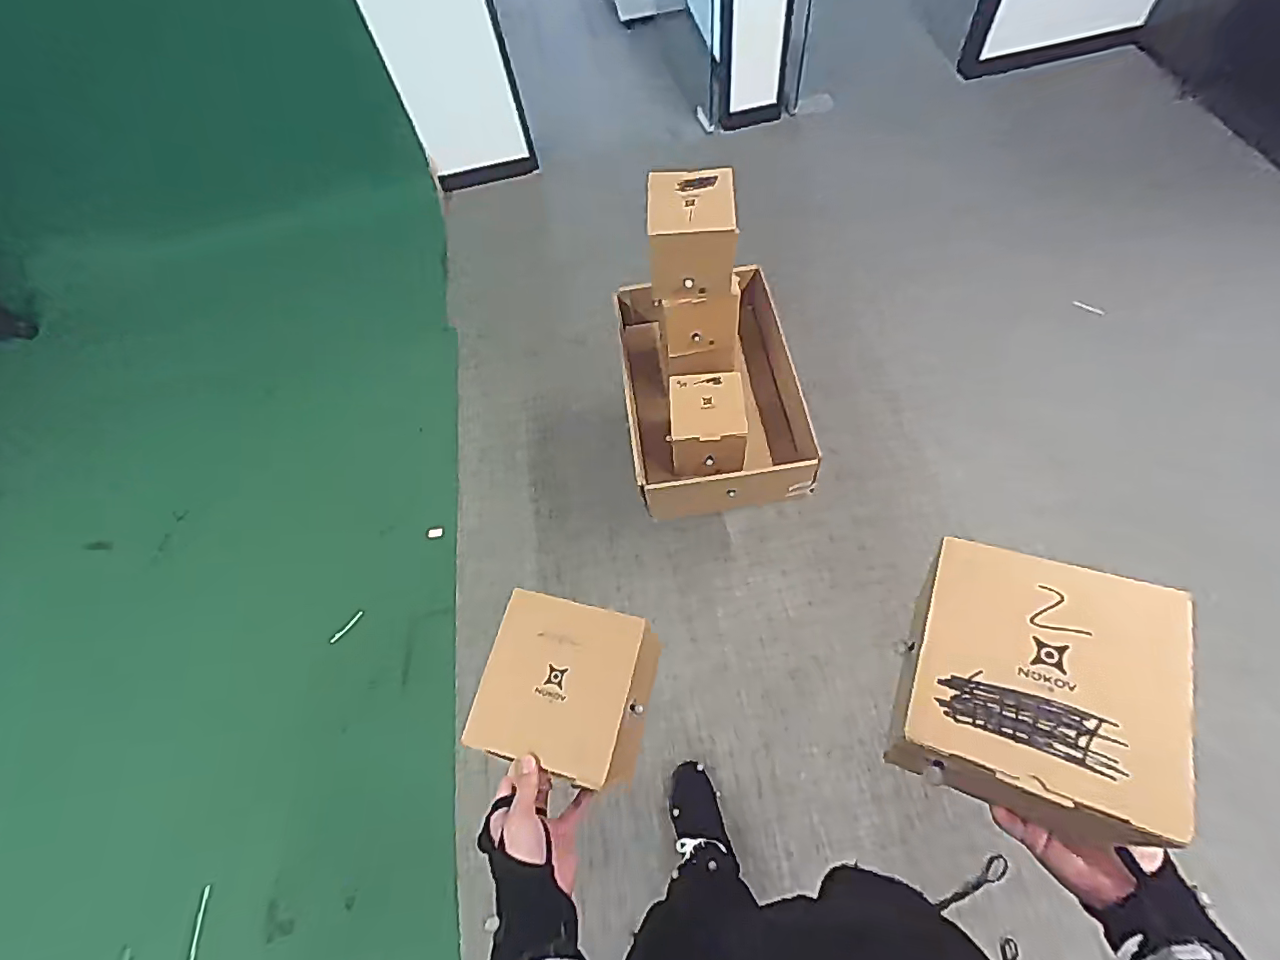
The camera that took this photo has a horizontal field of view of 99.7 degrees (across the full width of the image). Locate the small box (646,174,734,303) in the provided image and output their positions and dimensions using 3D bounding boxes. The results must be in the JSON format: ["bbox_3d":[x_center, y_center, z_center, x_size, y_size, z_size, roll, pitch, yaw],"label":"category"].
[{"bbox_3d":[0.102,-0.487,1.103,0.168,0.176,0.179,-1,64,6],"label":"small box"}]

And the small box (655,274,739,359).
[{"bbox_3d":[0.124,-0.408,1.246,0.168,0.176,0.179,-10,63,1],"label":"small box"}]

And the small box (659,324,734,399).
[{"bbox_3d":[0.142,-0.336,1.389,0.168,0.176,0.179,-10,62,2],"label":"small box"}]
